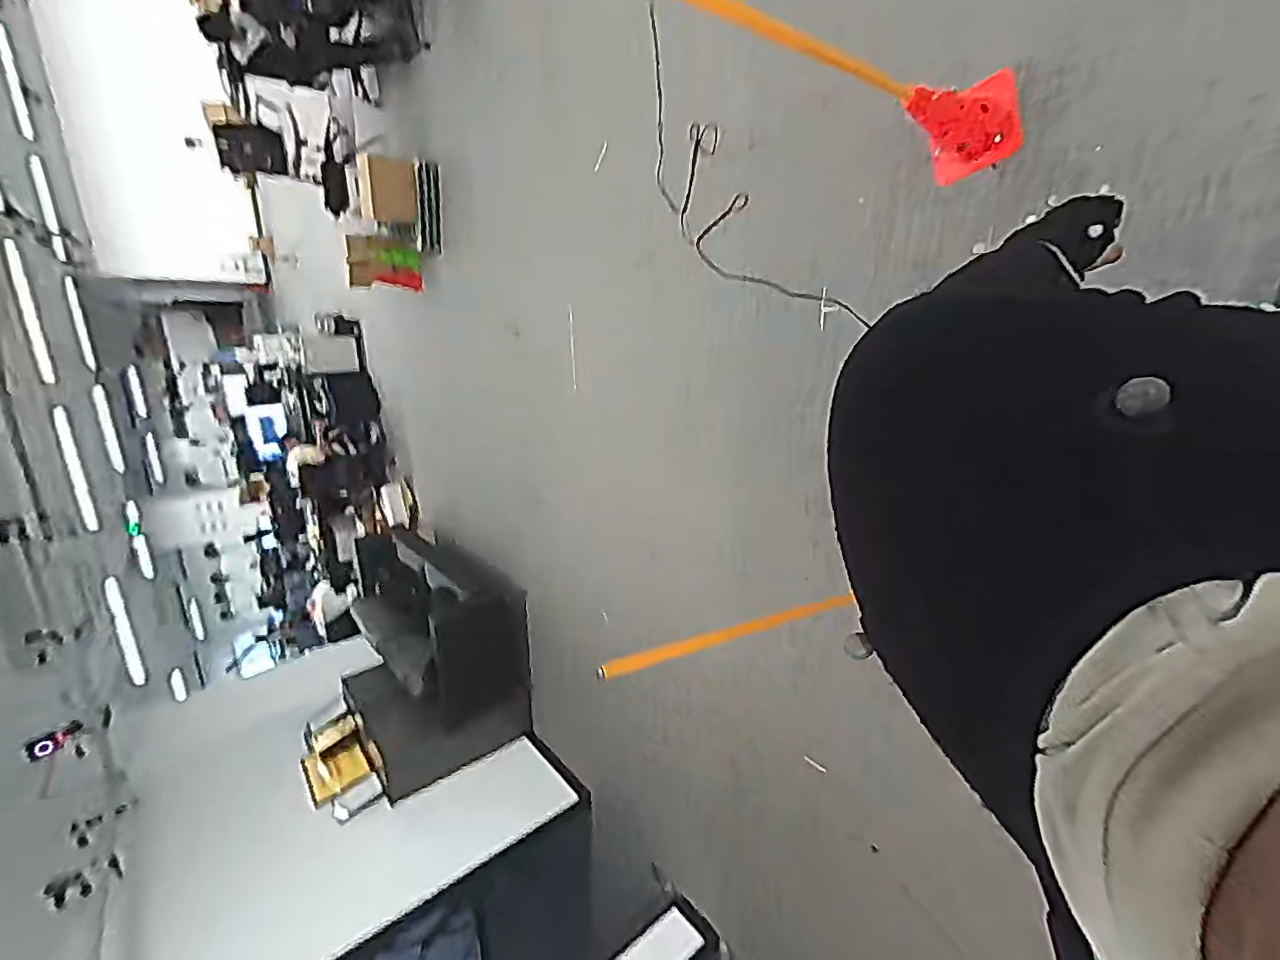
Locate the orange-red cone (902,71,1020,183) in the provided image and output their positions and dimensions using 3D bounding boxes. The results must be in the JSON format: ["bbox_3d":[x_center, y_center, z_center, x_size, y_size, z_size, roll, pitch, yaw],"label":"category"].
[{"bbox_3d":[0.713,-0.861,1.266,0.198,0.360,0.199,-5,95,51],"label":"orange-red cone"}]
